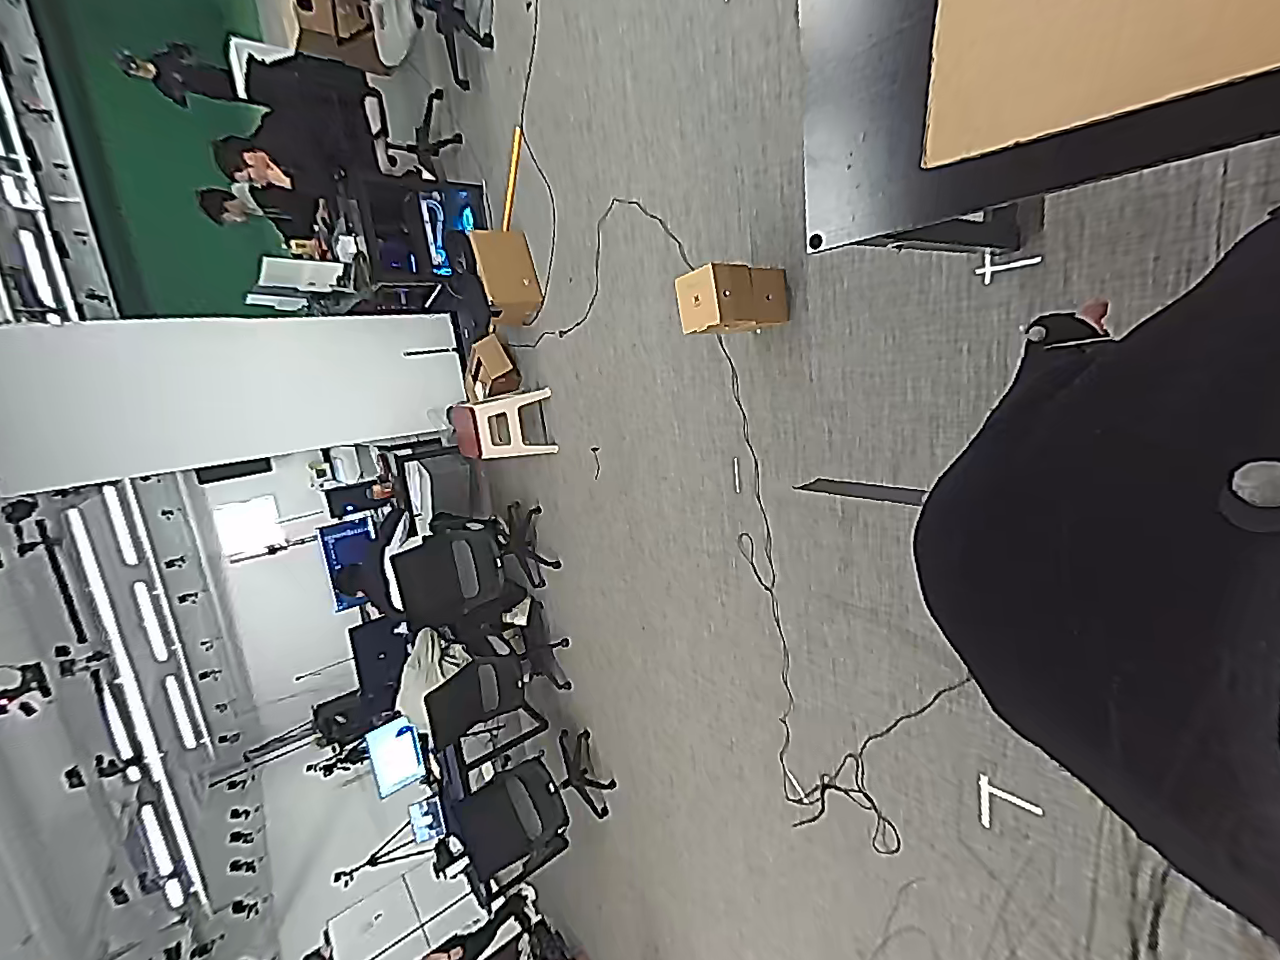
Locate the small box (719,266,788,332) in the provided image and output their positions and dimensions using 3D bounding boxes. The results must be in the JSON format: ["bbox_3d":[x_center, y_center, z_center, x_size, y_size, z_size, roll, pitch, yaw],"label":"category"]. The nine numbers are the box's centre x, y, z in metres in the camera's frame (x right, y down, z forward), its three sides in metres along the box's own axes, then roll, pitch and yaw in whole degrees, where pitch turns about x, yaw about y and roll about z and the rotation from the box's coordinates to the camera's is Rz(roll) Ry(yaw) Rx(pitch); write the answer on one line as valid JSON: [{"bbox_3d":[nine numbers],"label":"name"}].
[{"bbox_3d":[0.366,-0.592,1.778,0.168,0.176,0.179,4,106,53],"label":"small box"}]

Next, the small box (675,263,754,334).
[{"bbox_3d":[0.237,-0.563,1.683,0.168,0.176,0.179,-2,100,53],"label":"small box"}]
